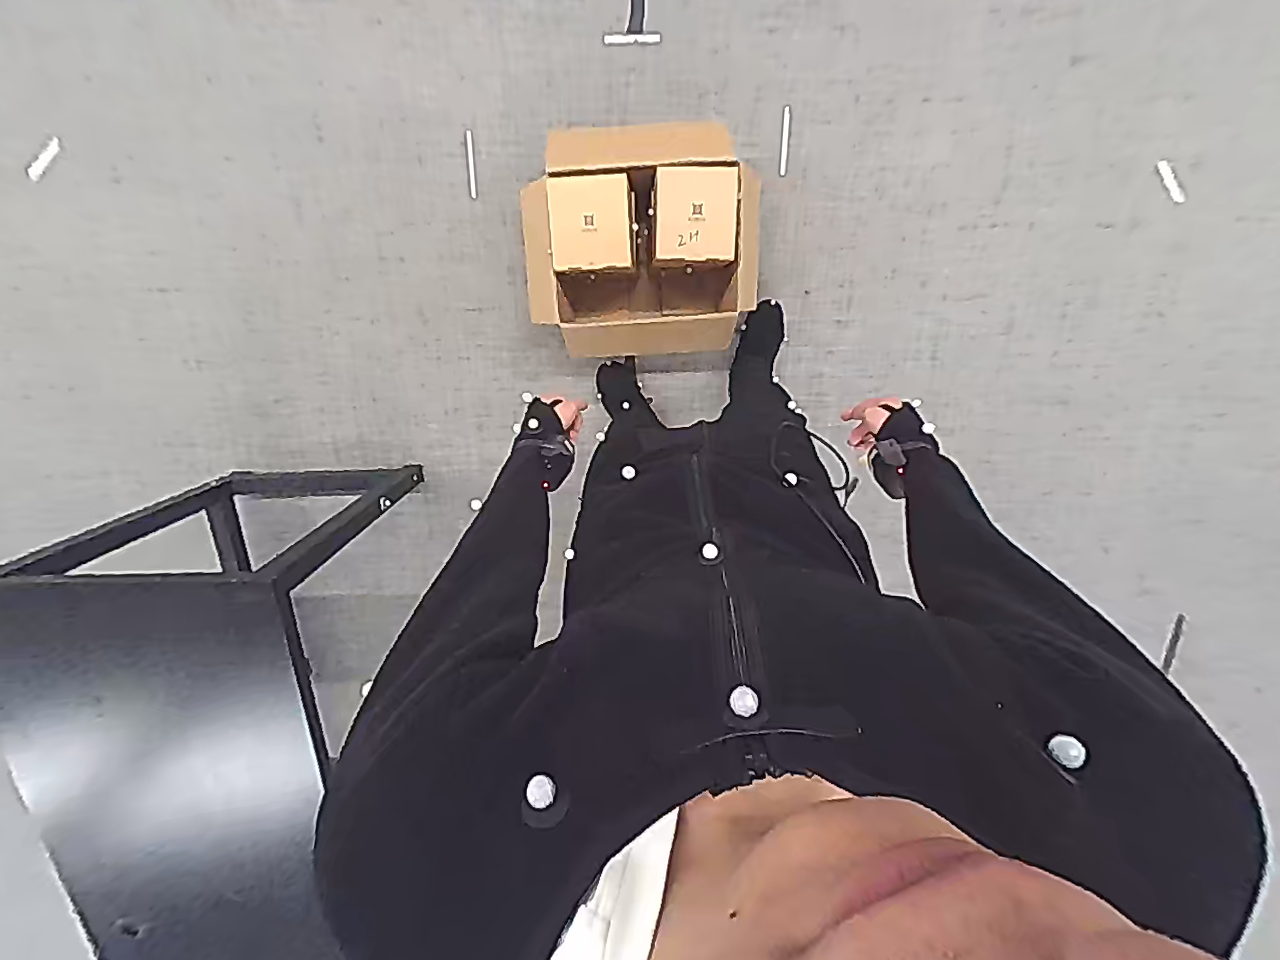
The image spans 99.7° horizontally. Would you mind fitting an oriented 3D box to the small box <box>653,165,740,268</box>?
[{"bbox_3d":[0.115,-0.562,1.171,0.168,0.176,0.179,1,108,0],"label":"small box"}]
